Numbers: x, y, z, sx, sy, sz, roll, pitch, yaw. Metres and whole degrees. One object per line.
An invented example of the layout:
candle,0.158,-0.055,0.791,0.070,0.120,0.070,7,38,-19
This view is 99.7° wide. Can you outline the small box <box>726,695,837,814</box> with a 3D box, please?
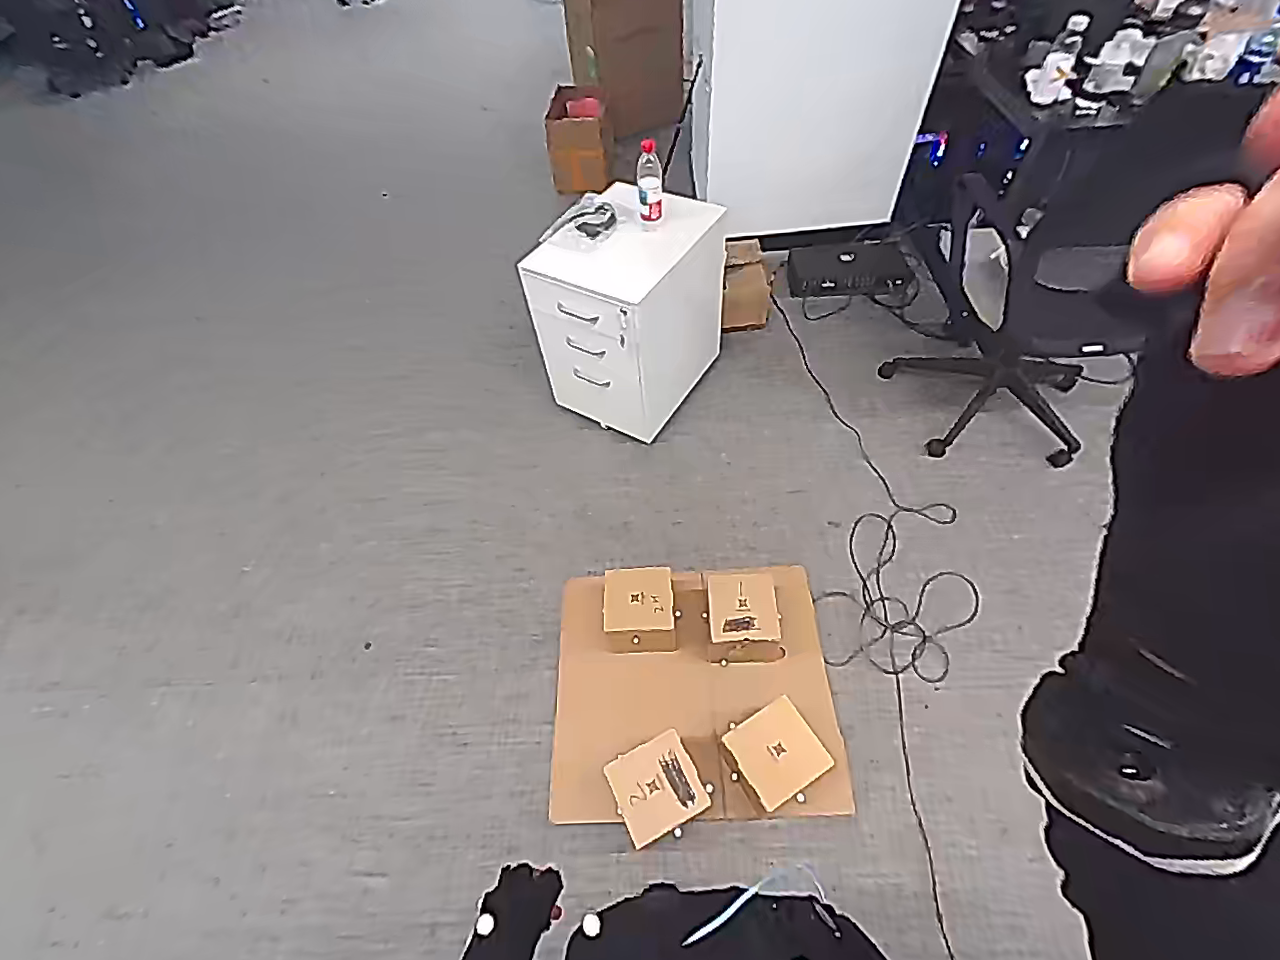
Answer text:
small box,0.305,0.618,1.212,0.179,0.176,0.168,-29,56,-12
